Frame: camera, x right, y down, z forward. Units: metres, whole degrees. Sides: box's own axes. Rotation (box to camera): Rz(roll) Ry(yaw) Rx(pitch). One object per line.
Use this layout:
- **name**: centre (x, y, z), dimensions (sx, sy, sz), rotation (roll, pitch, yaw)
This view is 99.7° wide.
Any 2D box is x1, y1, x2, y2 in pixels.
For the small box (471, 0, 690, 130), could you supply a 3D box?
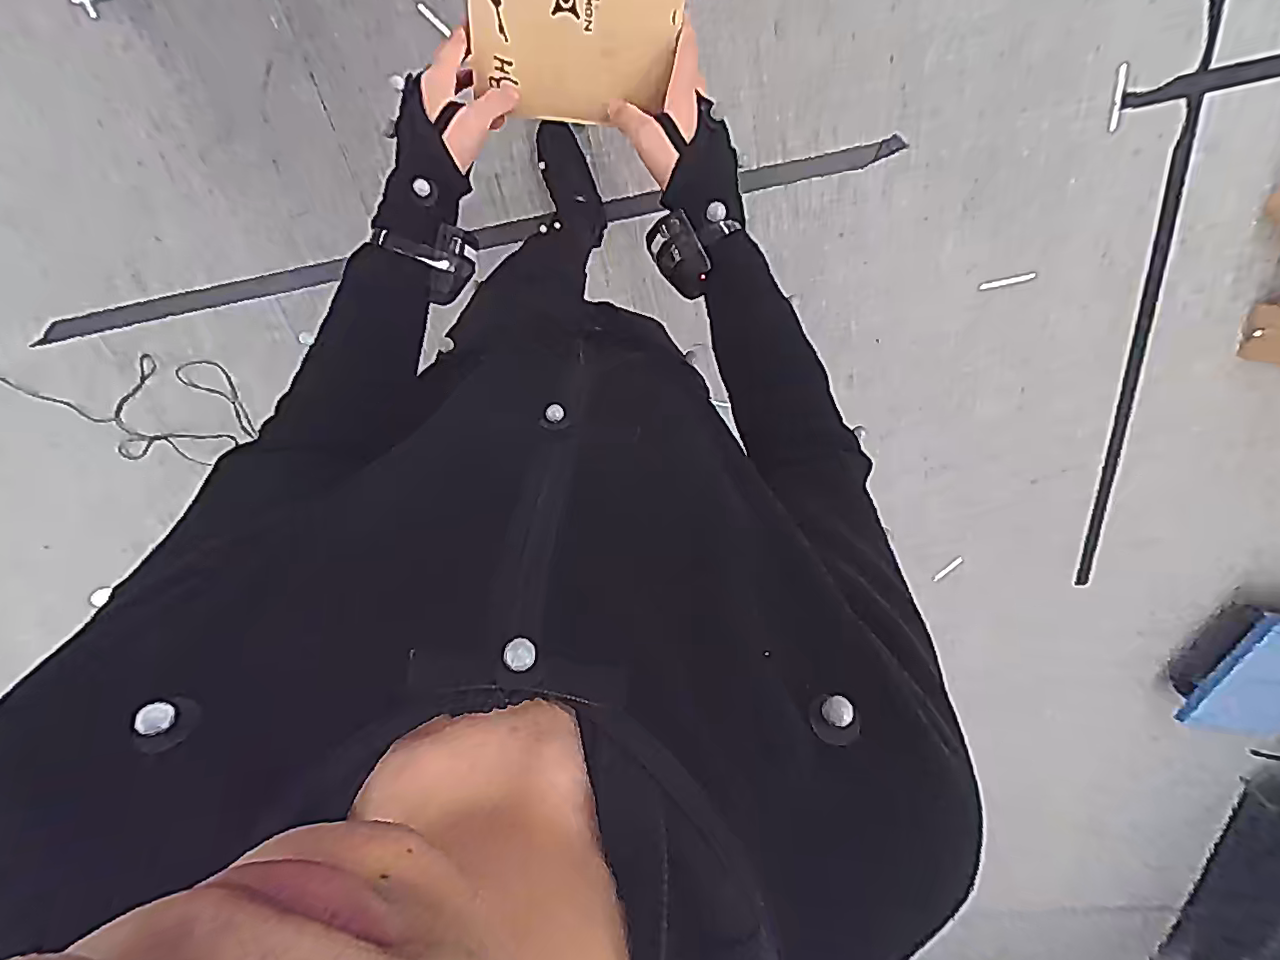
- **small box**: centre (-0.052, -0.435, 0.492), dimensions (0.179, 0.176, 0.168), rotation (3, 127, -7)
